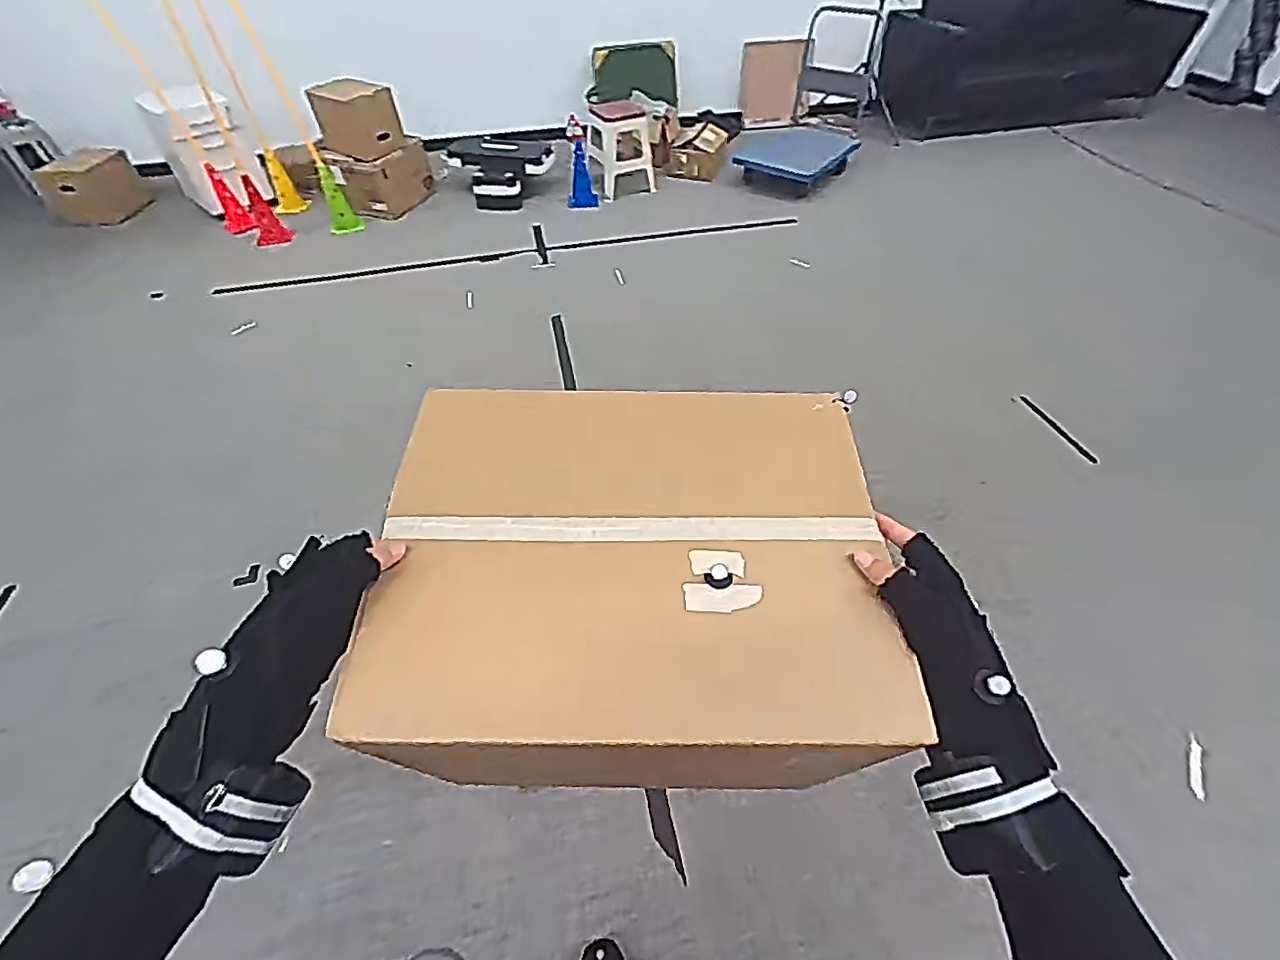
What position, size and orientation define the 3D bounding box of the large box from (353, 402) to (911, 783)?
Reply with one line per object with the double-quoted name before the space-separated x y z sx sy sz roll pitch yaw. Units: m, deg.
"large box" -0.009 0.132 0.584 0.408 0.320 0.320 1 56 -1
